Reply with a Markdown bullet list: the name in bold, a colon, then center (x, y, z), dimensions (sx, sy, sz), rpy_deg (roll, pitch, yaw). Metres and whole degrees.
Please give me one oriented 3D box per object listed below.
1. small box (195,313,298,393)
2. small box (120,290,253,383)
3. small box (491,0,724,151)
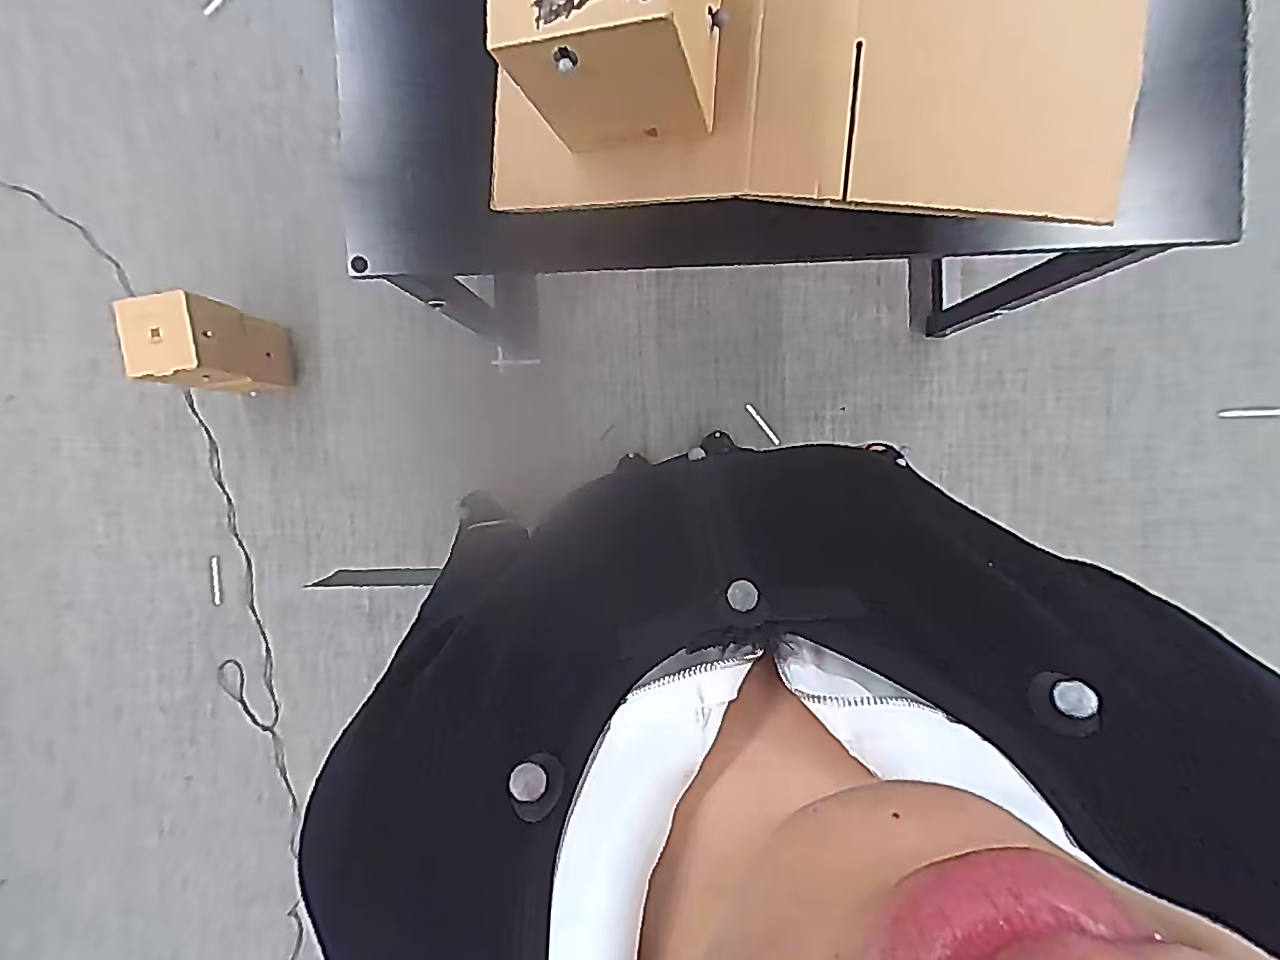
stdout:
- **small box**: center (-1.052, -0.333, 1.443), dimensions (0.168, 0.176, 0.179), rpy_deg (-5, 94, 3)
- **small box**: center (-1.061, -0.329, 1.280), dimensions (0.168, 0.176, 0.179), rpy_deg (-8, 92, 2)
- **small box**: center (-0.018, -0.448, 0.508), dimensions (0.168, 0.176, 0.179), rpy_deg (5, 93, 18)
